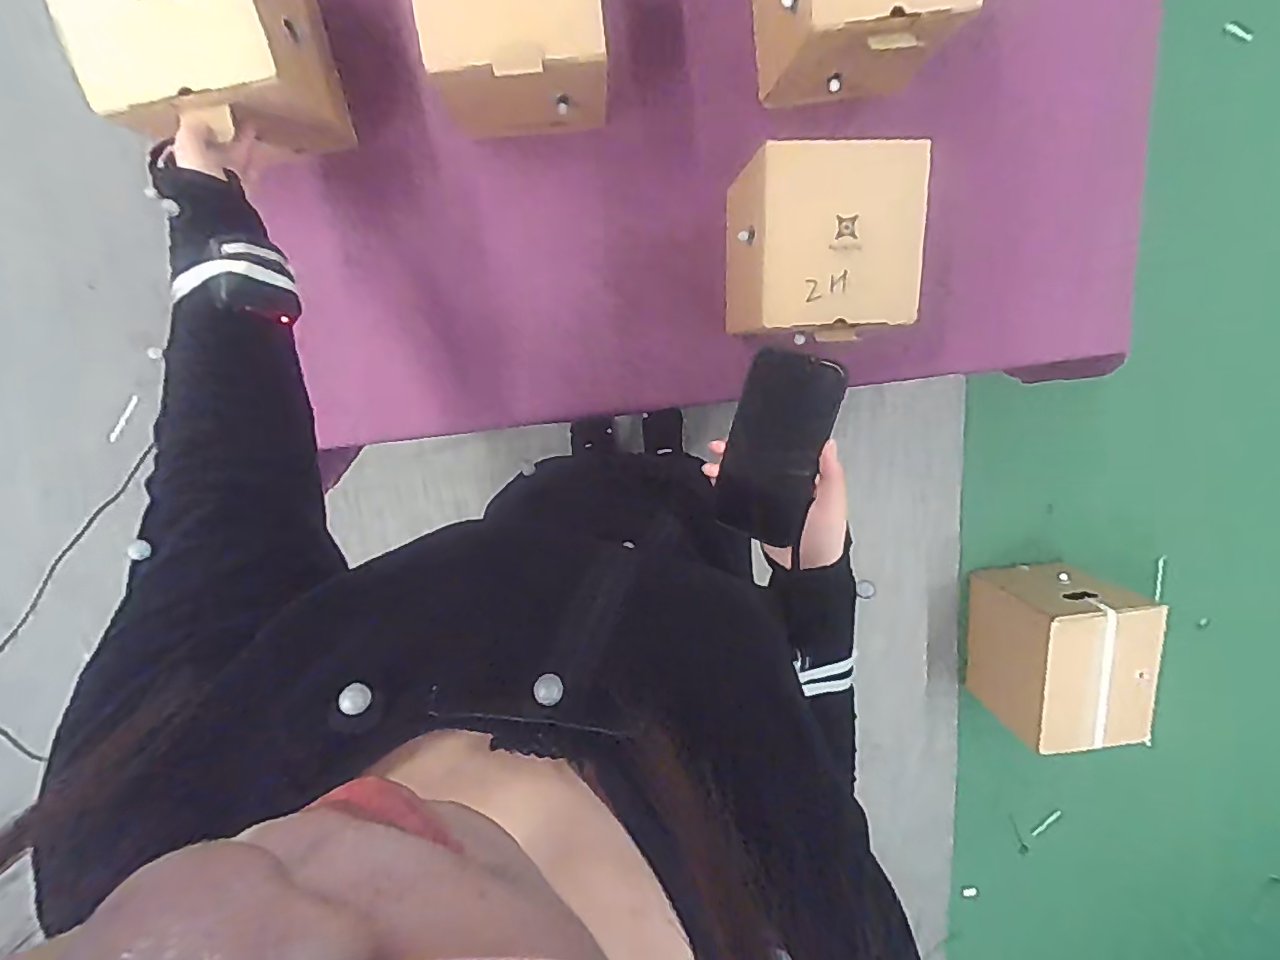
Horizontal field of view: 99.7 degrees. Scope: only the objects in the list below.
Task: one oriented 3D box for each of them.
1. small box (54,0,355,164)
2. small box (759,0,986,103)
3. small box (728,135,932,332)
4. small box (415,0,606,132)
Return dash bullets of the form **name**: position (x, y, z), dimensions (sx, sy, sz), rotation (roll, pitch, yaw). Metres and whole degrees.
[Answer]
- **small box**: position (-0.413, -0.433, 0.531), dimensions (0.168, 0.176, 0.179), rotation (-12, 105, -2)
- **small box**: position (0.222, -0.528, 0.554), dimensions (0.168, 0.176, 0.179), rotation (-9, 105, -1)
- **small box**: position (0.199, -0.263, 0.615), dimensions (0.168, 0.176, 0.179), rotation (-2, 104, -3)
- **small box**: position (-0.123, -0.474, 0.543), dimensions (0.168, 0.176, 0.179), rotation (-7, 104, -3)
